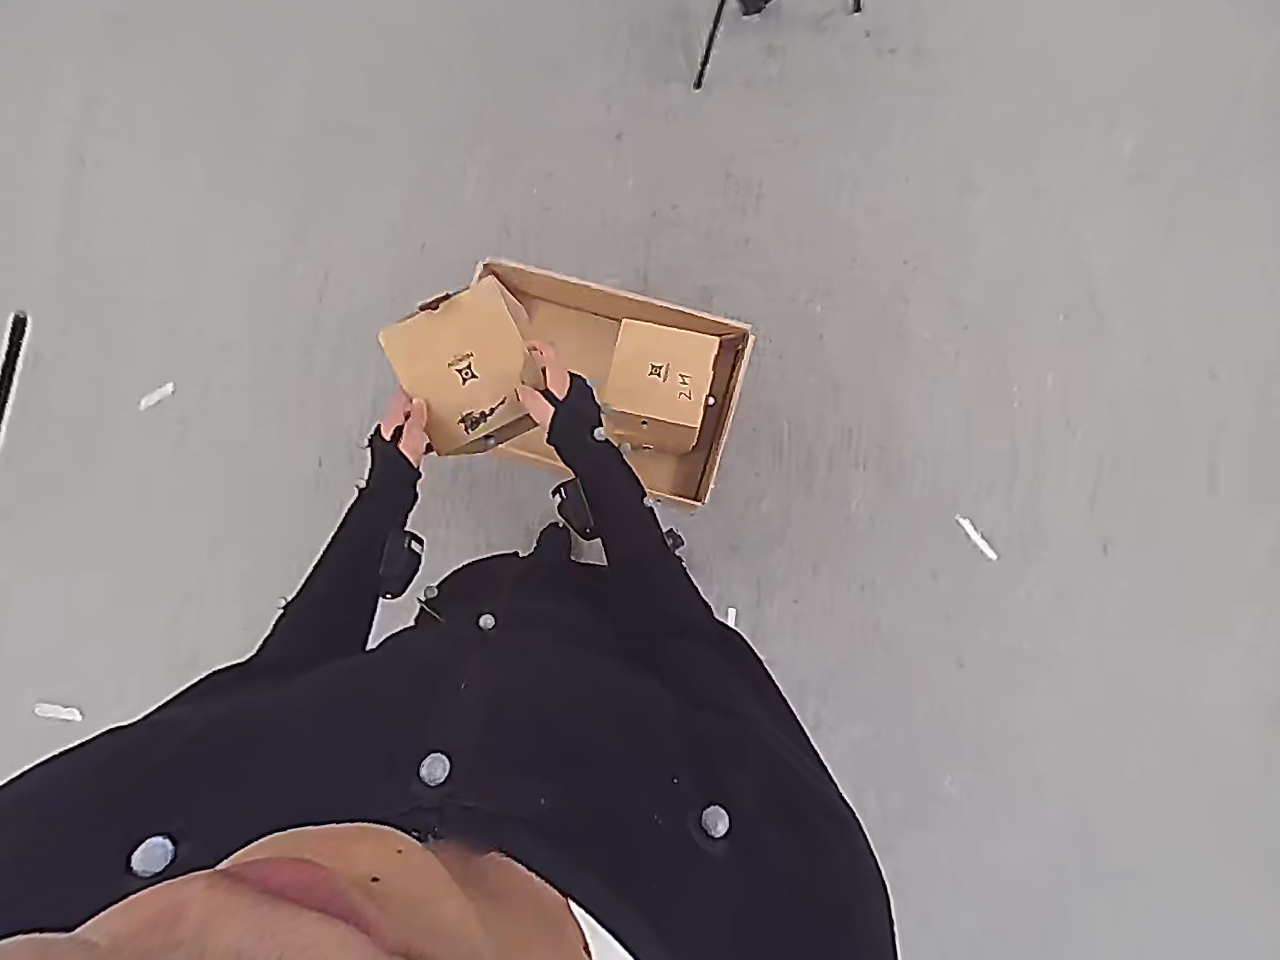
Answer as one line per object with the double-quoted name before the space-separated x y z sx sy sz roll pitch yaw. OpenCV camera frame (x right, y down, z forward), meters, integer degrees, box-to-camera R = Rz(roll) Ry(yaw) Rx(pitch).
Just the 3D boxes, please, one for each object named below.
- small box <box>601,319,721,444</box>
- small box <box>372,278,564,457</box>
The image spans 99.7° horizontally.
"small box" 0.041 -0.172 1.000 0.179 0.176 0.168 14 85 4
"small box" -0.222 -0.142 0.747 0.168 0.176 0.179 -26 93 3
